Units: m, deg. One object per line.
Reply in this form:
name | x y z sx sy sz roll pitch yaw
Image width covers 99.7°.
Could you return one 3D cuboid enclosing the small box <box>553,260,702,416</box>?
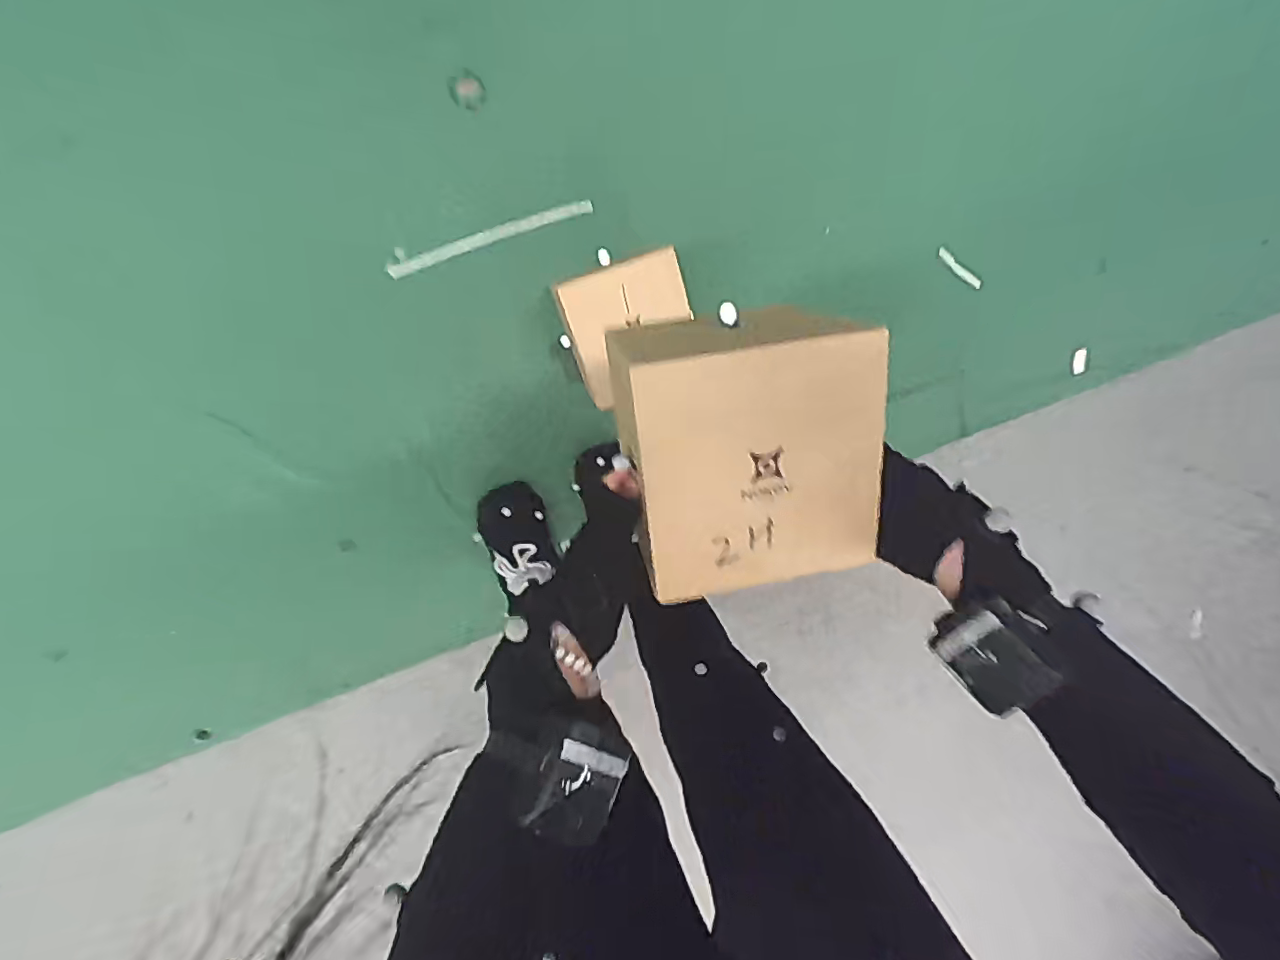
small box | -0.025 -0.221 0.818 0.168 0.176 0.179 -21 114 -5
